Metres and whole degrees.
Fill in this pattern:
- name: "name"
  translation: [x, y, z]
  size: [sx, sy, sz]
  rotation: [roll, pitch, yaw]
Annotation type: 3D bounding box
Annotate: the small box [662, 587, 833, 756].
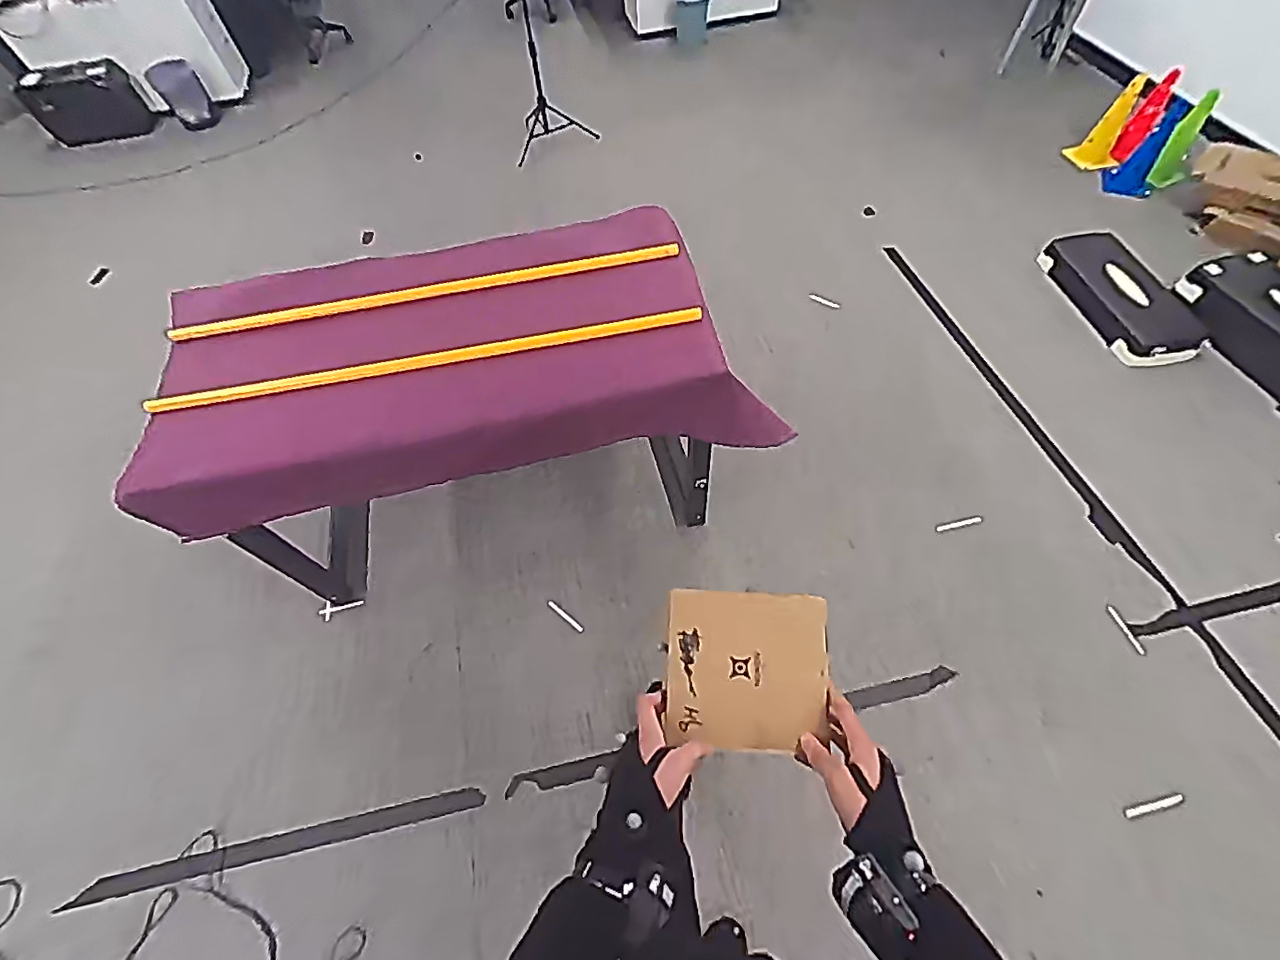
- name: "small box"
  translation: [0.121, 0.223, 0.662]
  size: [0.179, 0.176, 0.168]
  rotation: [3, 75, 1]
